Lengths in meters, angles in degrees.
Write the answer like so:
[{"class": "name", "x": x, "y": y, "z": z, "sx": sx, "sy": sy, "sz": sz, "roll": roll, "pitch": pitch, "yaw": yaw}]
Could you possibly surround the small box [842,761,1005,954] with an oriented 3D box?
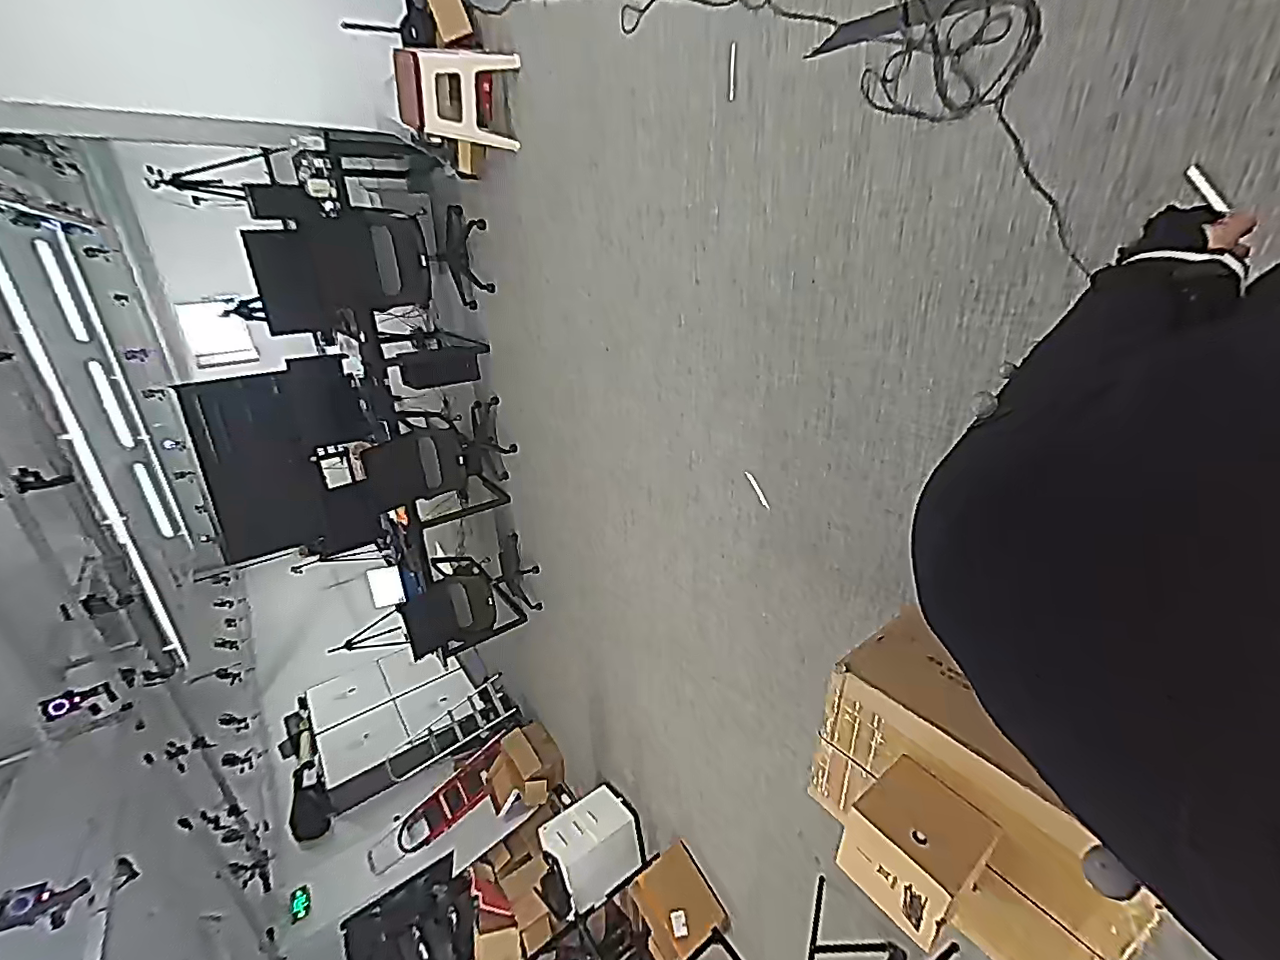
[{"class": "small box", "x": 0.480, "y": 0.628, "z": 0.923, "sx": 0.179, "sy": 0.176, "sz": 0.168, "roll": 31, "pitch": 130, "yaw": 47}]
